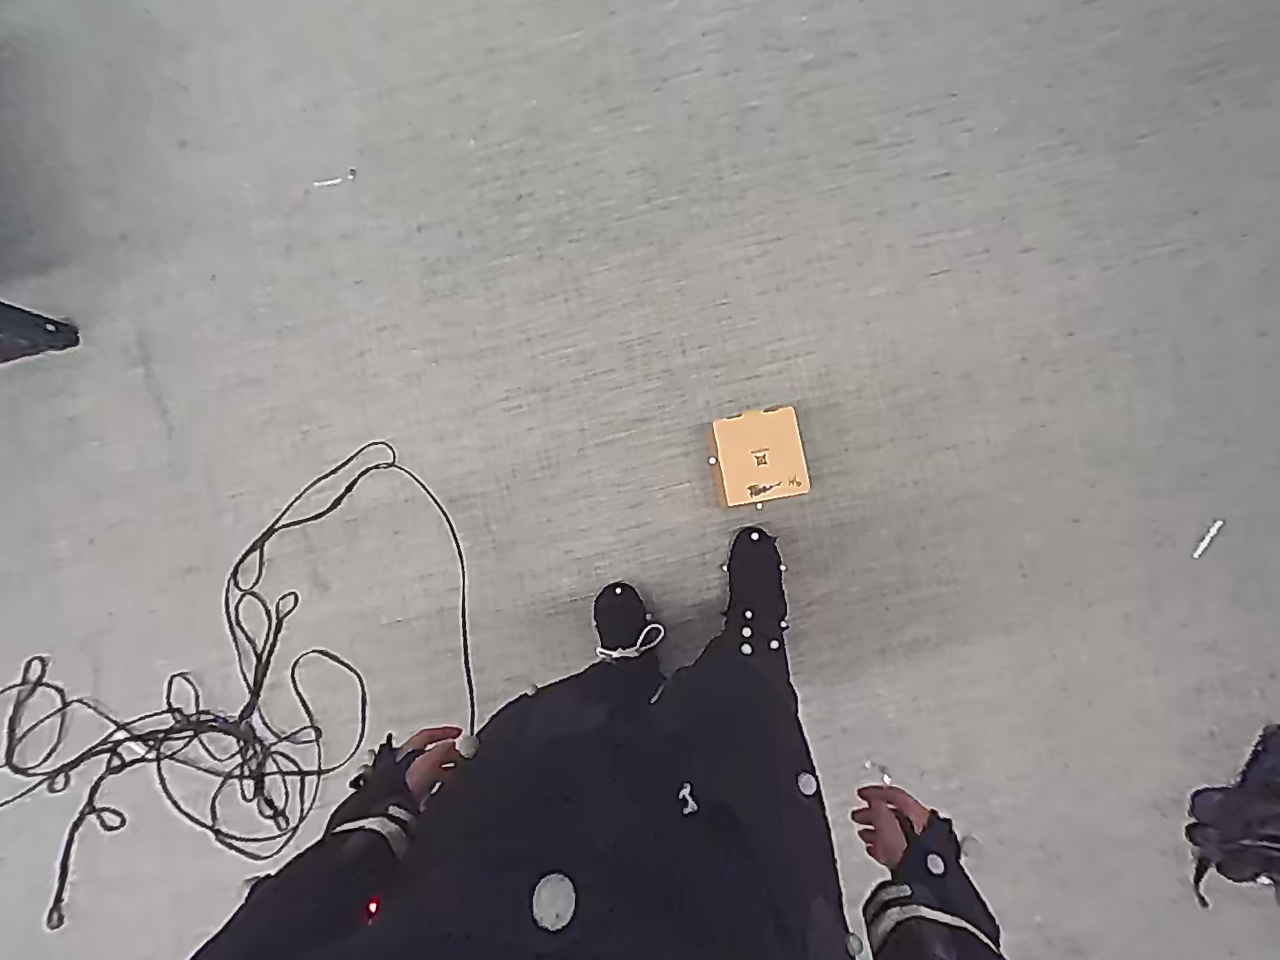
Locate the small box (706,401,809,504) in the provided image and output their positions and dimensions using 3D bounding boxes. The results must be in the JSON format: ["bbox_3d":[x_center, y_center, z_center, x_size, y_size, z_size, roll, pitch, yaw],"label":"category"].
[{"bbox_3d":[0.238,-0.051,1.136,0.168,0.176,0.179,-10,84,2],"label":"small box"}]
